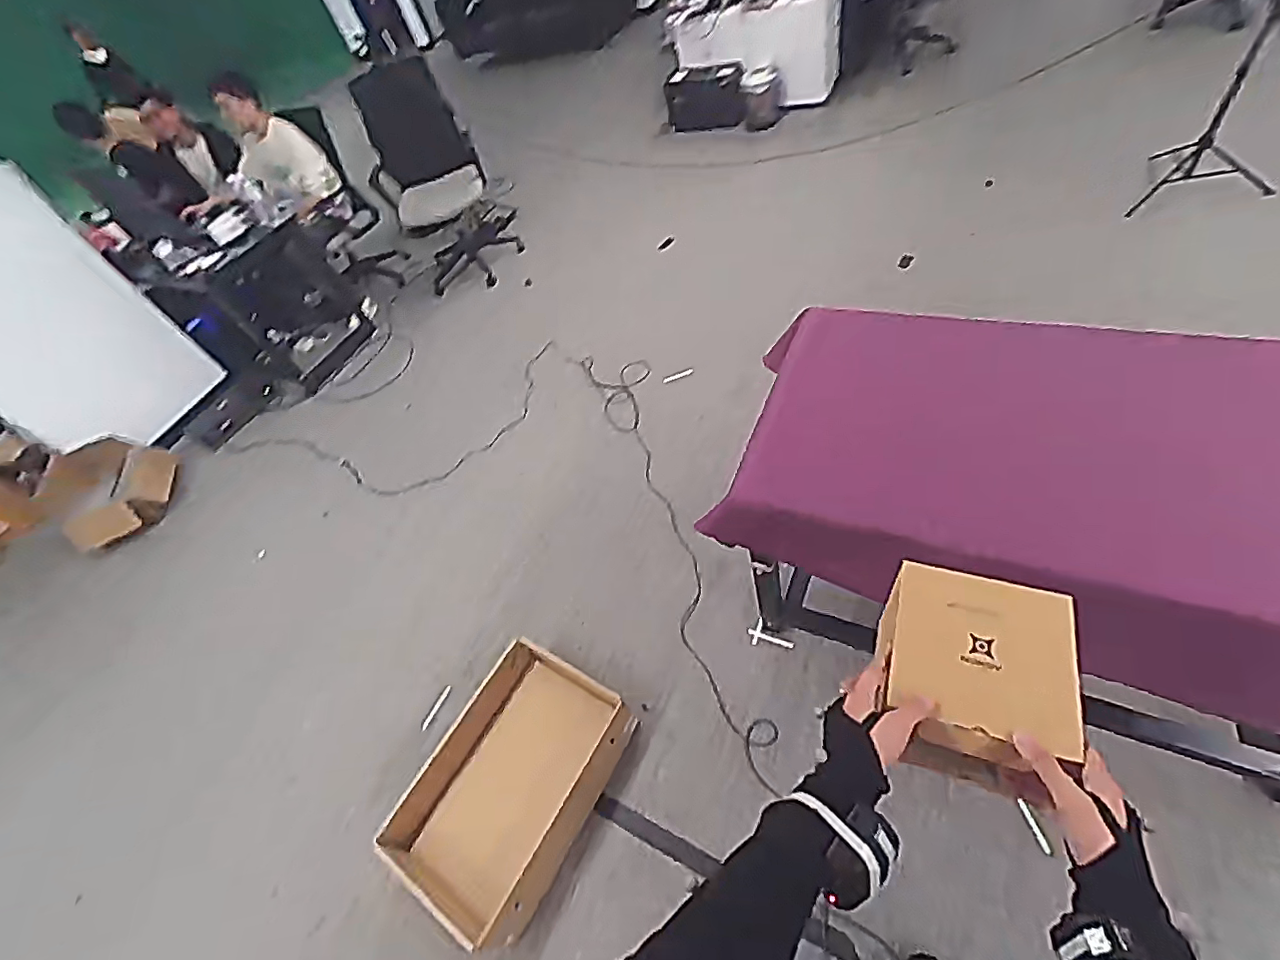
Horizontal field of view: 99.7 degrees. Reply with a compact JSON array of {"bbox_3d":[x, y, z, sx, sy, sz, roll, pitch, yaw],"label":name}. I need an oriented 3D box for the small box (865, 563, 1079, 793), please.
[{"bbox_3d":[0.358,0.225,0.610,0.168,0.176,0.179,11,54,21],"label":"small box"}]
